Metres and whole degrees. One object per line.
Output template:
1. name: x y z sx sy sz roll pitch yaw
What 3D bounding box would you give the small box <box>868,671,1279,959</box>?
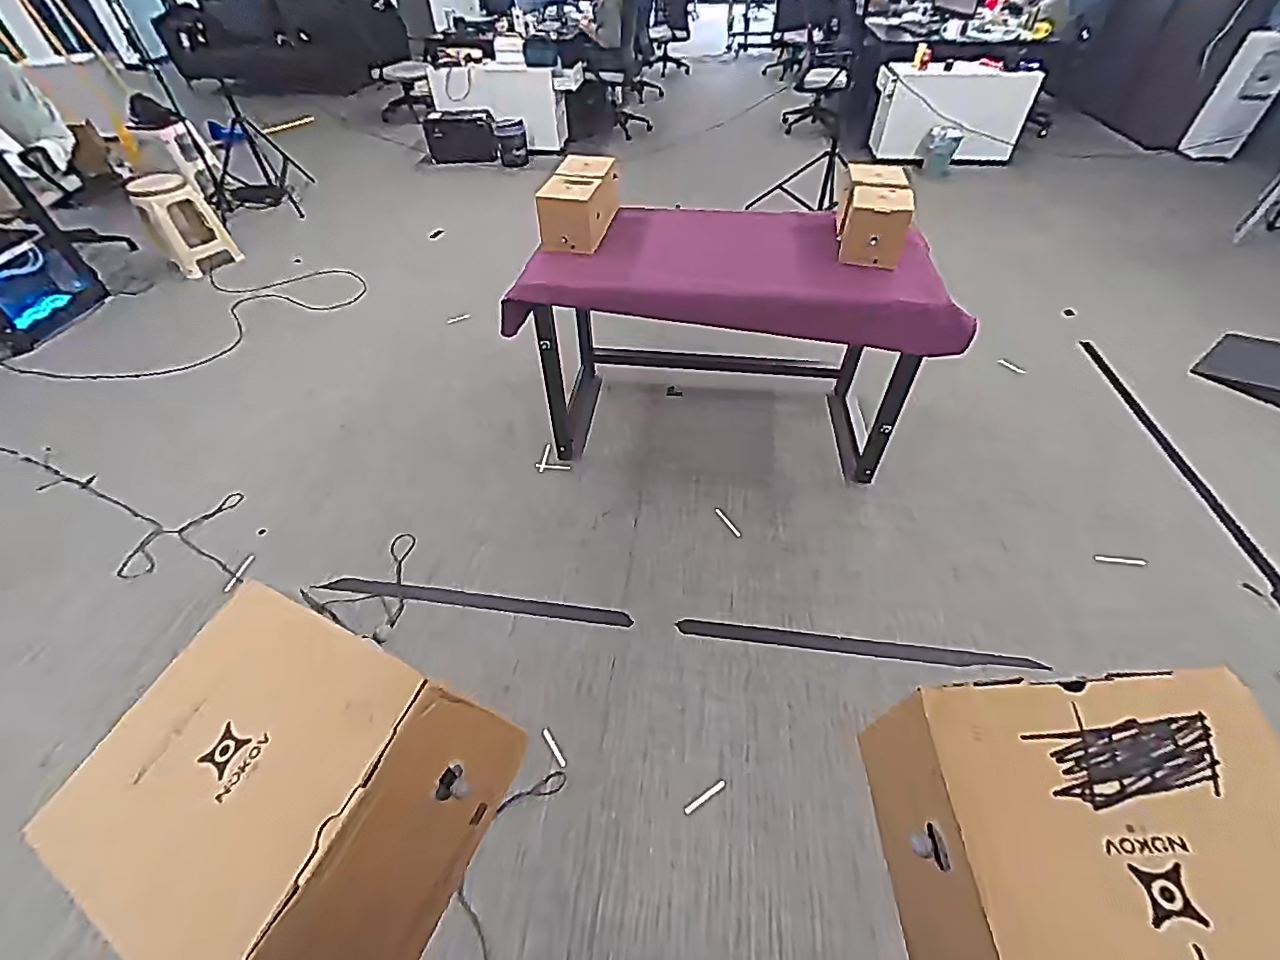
1. small box: 0.253 0.227 0.320 0.168 0.176 0.179 -6 56 5

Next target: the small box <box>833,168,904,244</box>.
1. small box: 0.729 -0.884 1.744 0.168 0.176 0.179 8 47 8

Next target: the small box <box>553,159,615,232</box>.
1. small box: -0.182 -0.964 1.831 0.168 0.176 0.179 8 48 8

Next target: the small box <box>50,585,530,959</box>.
1. small box: -0.204 0.202 0.367 0.179 0.176 0.168 15 59 24
